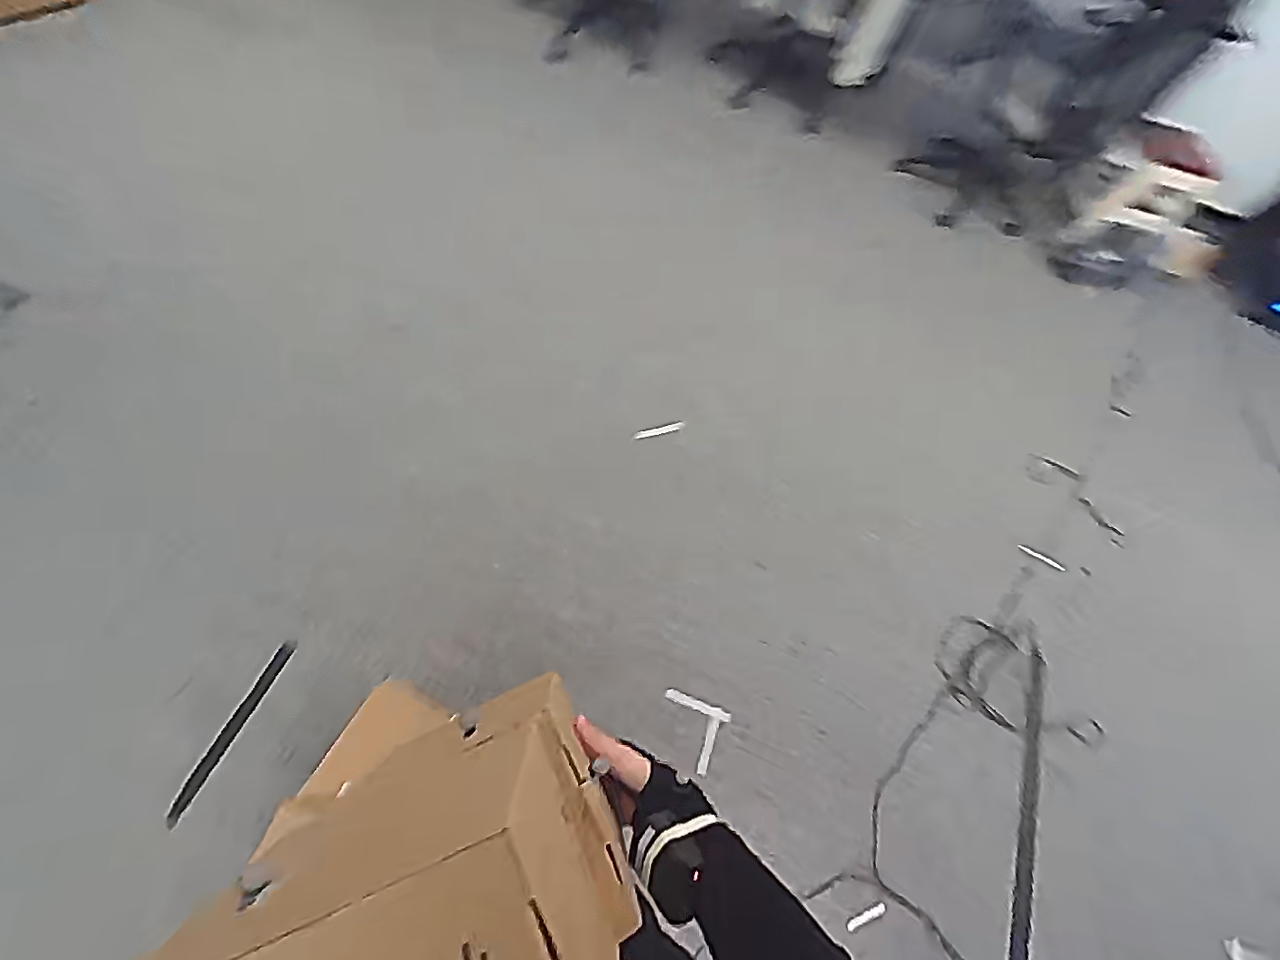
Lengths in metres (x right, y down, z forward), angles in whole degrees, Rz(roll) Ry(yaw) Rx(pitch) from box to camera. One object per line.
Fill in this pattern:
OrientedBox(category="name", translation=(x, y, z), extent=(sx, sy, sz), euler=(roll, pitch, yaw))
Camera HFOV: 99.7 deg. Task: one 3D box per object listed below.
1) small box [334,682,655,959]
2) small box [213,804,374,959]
OrientedBox(category="small box", translation=(-0.109, 0.288, 0.448), extent=(0.179, 0.176, 0.168), euler=(-22, 82, -12))
OrientedBox(category="small box", translation=(-0.357, 0.504, 0.648), extent=(0.179, 0.176, 0.168), euler=(18, 61, -4))
